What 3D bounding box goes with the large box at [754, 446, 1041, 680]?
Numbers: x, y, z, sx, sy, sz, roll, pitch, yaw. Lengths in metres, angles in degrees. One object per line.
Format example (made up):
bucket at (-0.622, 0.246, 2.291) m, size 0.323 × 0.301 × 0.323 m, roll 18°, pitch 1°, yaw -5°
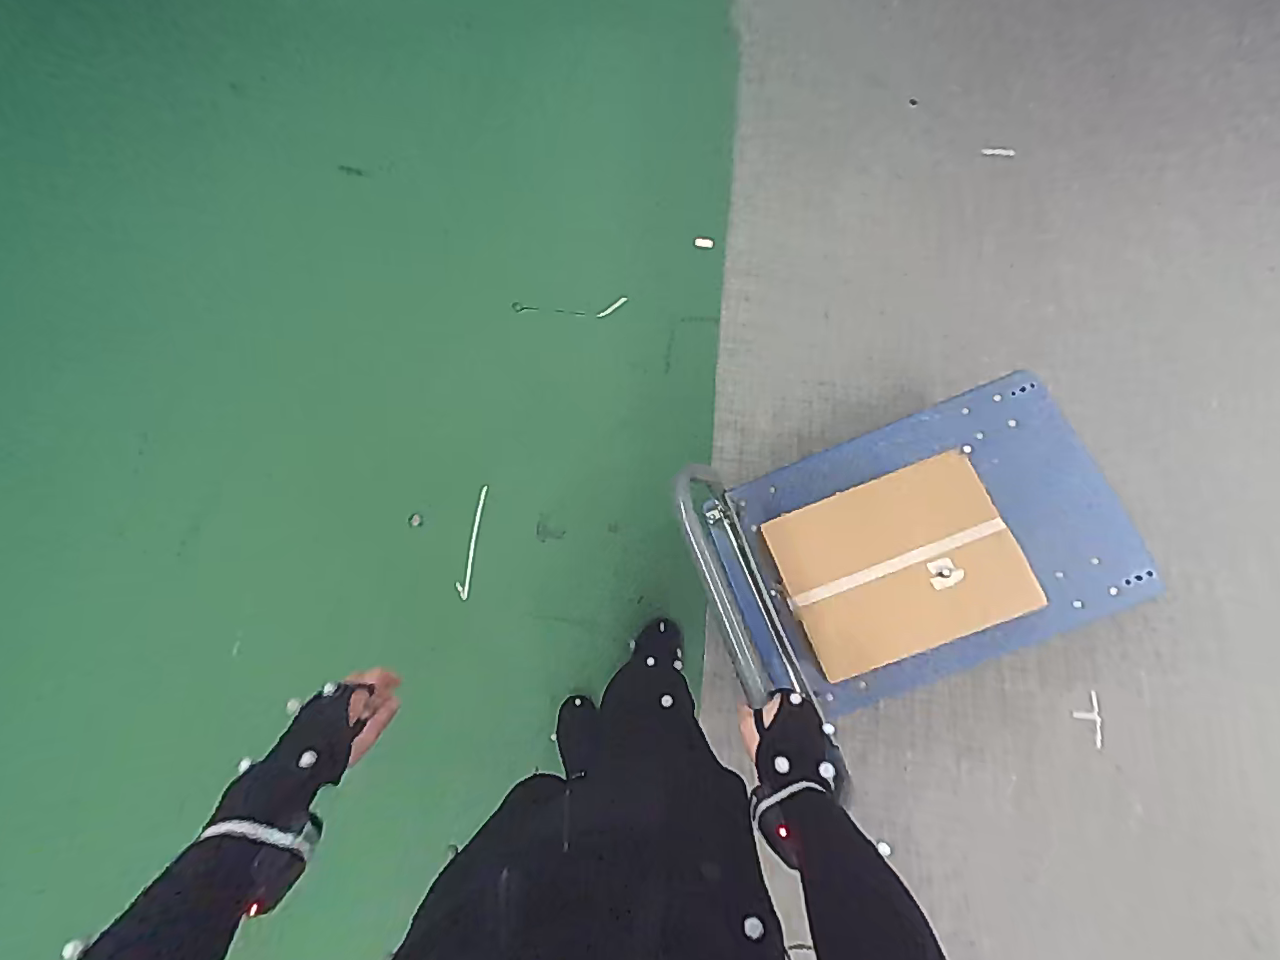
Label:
large box at (0.489, 0.181, 1.134) m, size 0.408 × 0.320 × 0.320 m, roll -22°, pitch 76°, yaw 4°
